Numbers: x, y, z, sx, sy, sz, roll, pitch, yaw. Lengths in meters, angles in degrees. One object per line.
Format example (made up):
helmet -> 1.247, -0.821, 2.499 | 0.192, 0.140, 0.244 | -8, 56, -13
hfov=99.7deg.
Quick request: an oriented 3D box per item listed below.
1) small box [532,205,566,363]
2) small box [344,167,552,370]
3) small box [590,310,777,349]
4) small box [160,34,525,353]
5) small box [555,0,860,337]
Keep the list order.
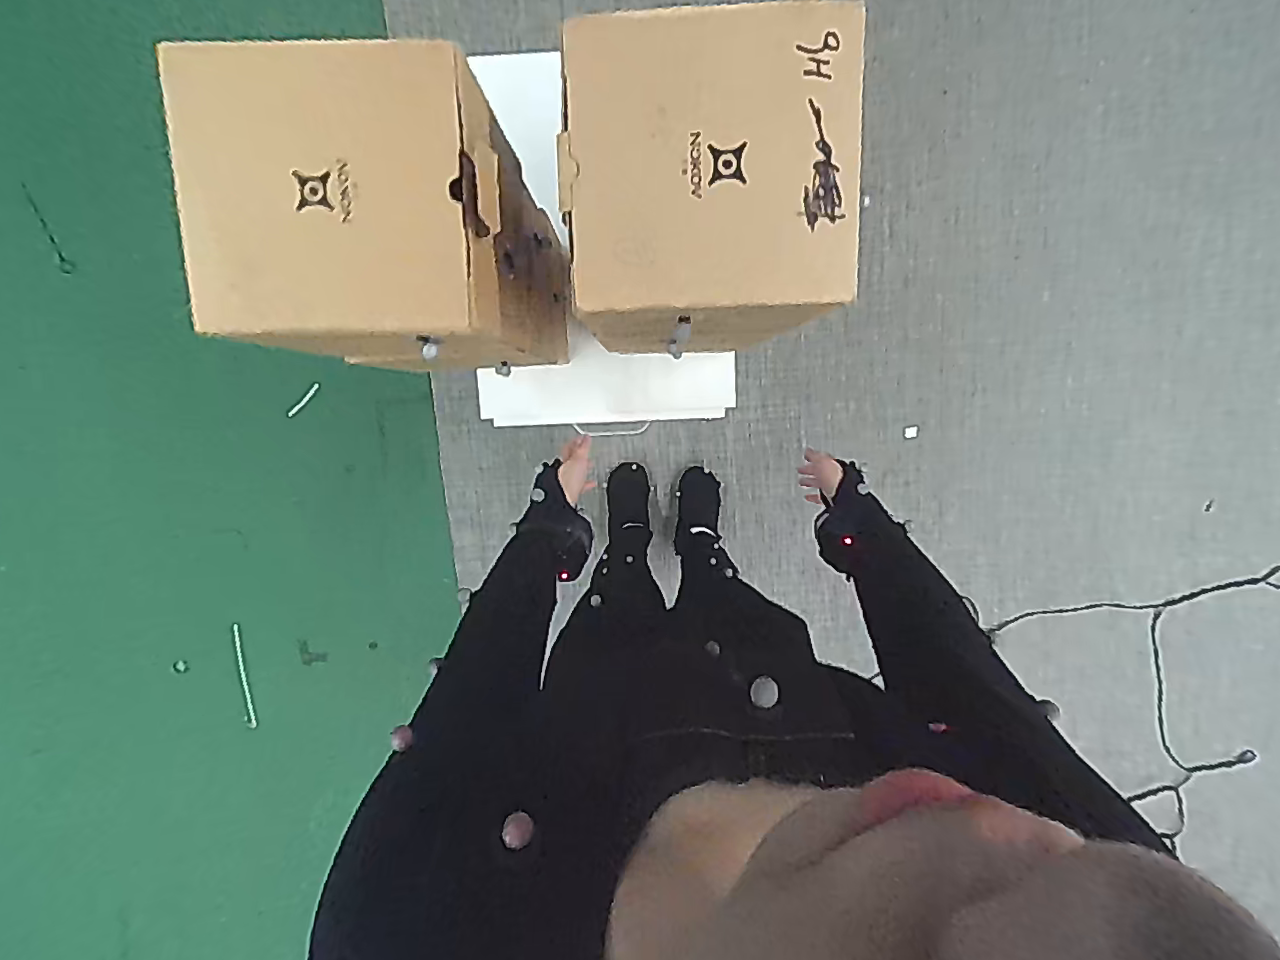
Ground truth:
small box -> -0.193, -0.247, 0.723 | 0.168, 0.176, 0.179 | -3, 99, -2
small box -> -0.190, -0.206, 0.565 | 0.179, 0.176, 0.168 | -3, 98, 0
small box -> 0.044, -0.227, 0.559 | 0.179, 0.176, 0.168 | -1, 99, 1
small box -> -0.192, -0.186, 0.403 | 0.179, 0.176, 0.168 | -1, 98, -1
small box -> 0.044, -0.199, 0.397 | 0.179, 0.176, 0.168 | -2, 99, 3
